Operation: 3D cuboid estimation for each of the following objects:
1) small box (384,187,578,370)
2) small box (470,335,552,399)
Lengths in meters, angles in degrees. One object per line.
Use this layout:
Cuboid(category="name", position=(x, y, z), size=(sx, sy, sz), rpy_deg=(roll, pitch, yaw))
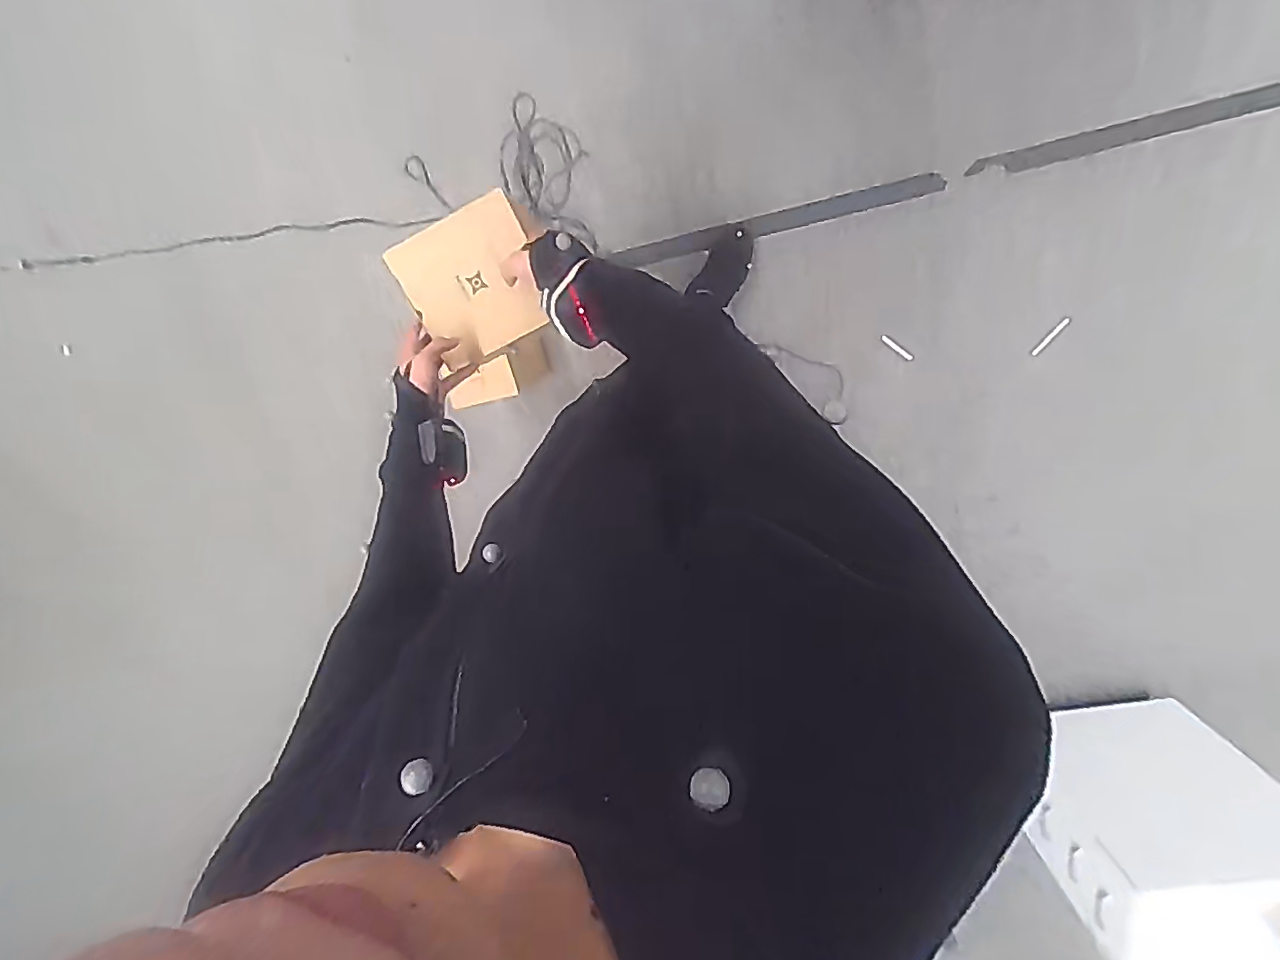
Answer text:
Cuboid(category="small box", position=(-0.205, -0.269, 0.751), size=(0.179, 0.176, 0.168), rpy_deg=(-24, 106, 8))
Cuboid(category="small box", position=(-0.354, -0.337, 1.472), size=(0.168, 0.176, 0.179), rpy_deg=(-13, 108, 9))
